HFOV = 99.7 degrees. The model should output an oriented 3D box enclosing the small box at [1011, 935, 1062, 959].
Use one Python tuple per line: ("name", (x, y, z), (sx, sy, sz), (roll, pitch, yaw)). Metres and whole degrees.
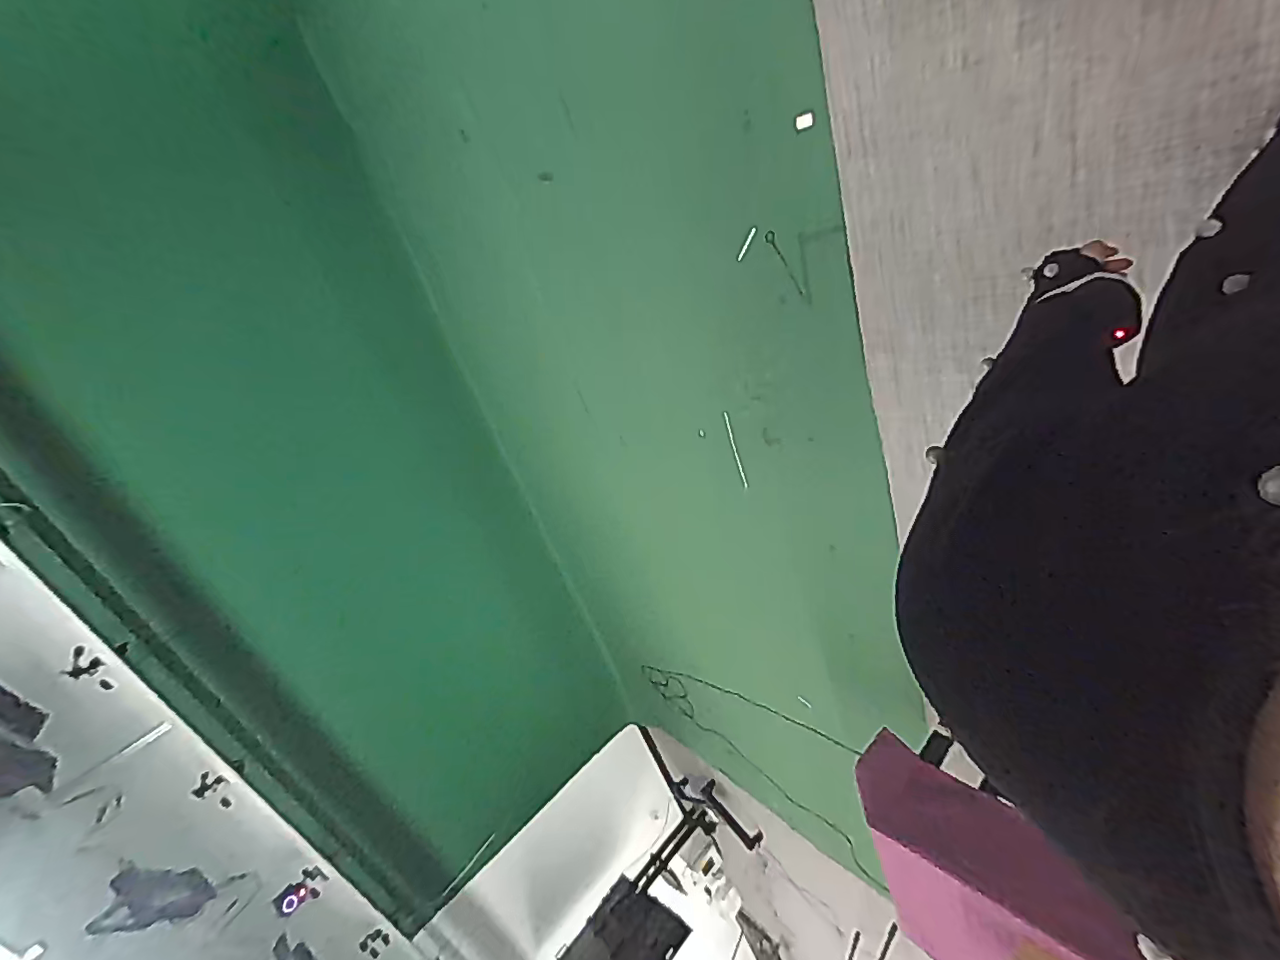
("small box", (0.950, 1.219, 1.245), (0.179, 0.176, 0.168), (14, 131, 50))
